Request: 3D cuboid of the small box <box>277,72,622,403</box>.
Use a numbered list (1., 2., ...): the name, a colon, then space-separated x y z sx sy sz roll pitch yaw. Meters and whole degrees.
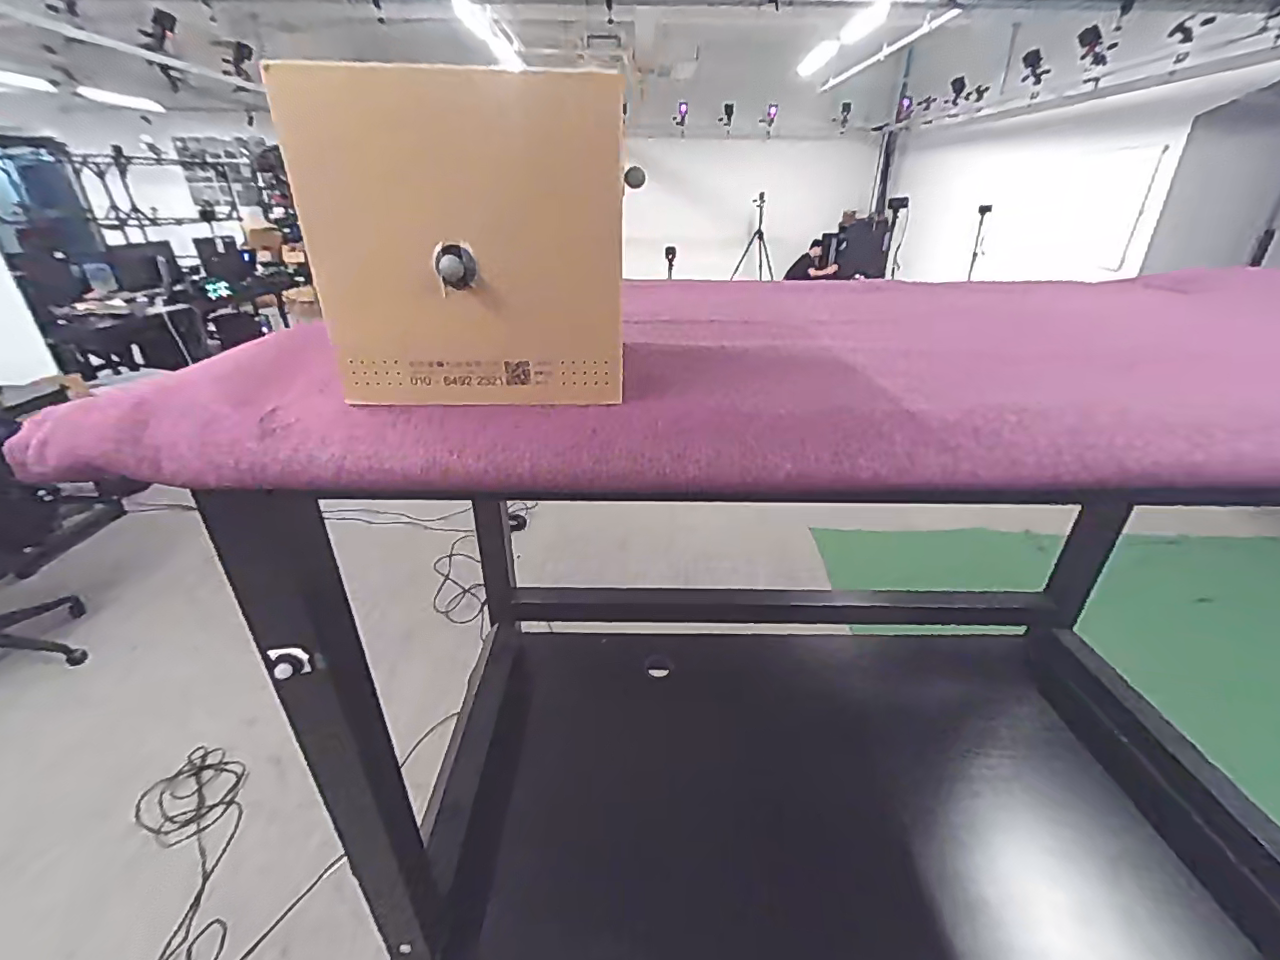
1. small box: -0.095 -0.157 0.368 0.168 0.176 0.179 0 27 -3
